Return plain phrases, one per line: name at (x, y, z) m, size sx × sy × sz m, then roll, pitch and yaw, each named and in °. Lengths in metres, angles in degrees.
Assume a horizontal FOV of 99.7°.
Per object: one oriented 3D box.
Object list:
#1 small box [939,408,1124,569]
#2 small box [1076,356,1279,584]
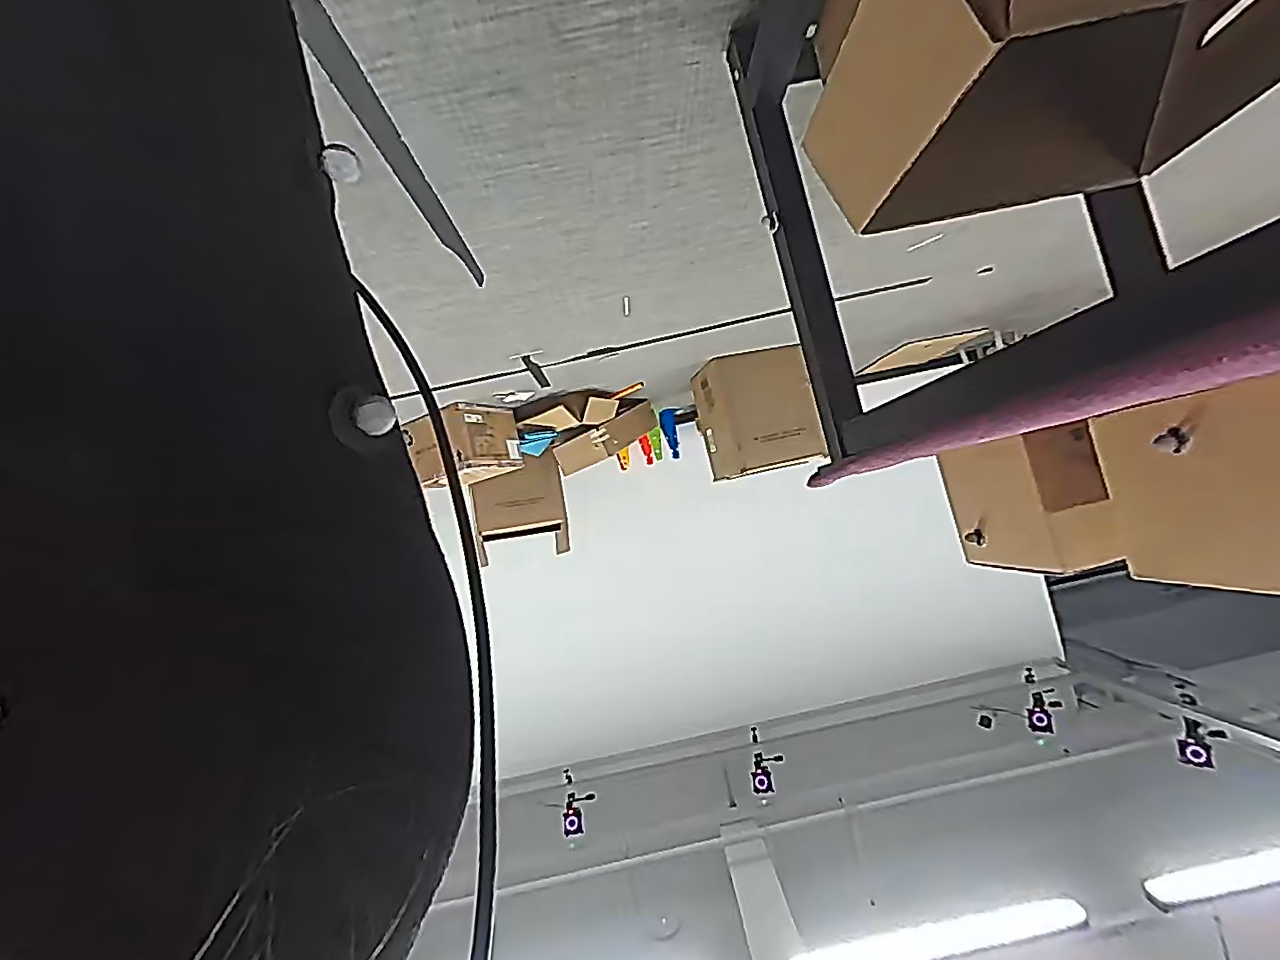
small box at (0.519, 0.007, 0.700) m, size 0.168 × 0.176 × 0.179 m, roll -15°, pitch 176°, yaw -3°
small box at (0.537, -0.014, 0.455) m, size 0.168 × 0.176 × 0.179 m, roll -14°, pitch 175°, yaw -3°
